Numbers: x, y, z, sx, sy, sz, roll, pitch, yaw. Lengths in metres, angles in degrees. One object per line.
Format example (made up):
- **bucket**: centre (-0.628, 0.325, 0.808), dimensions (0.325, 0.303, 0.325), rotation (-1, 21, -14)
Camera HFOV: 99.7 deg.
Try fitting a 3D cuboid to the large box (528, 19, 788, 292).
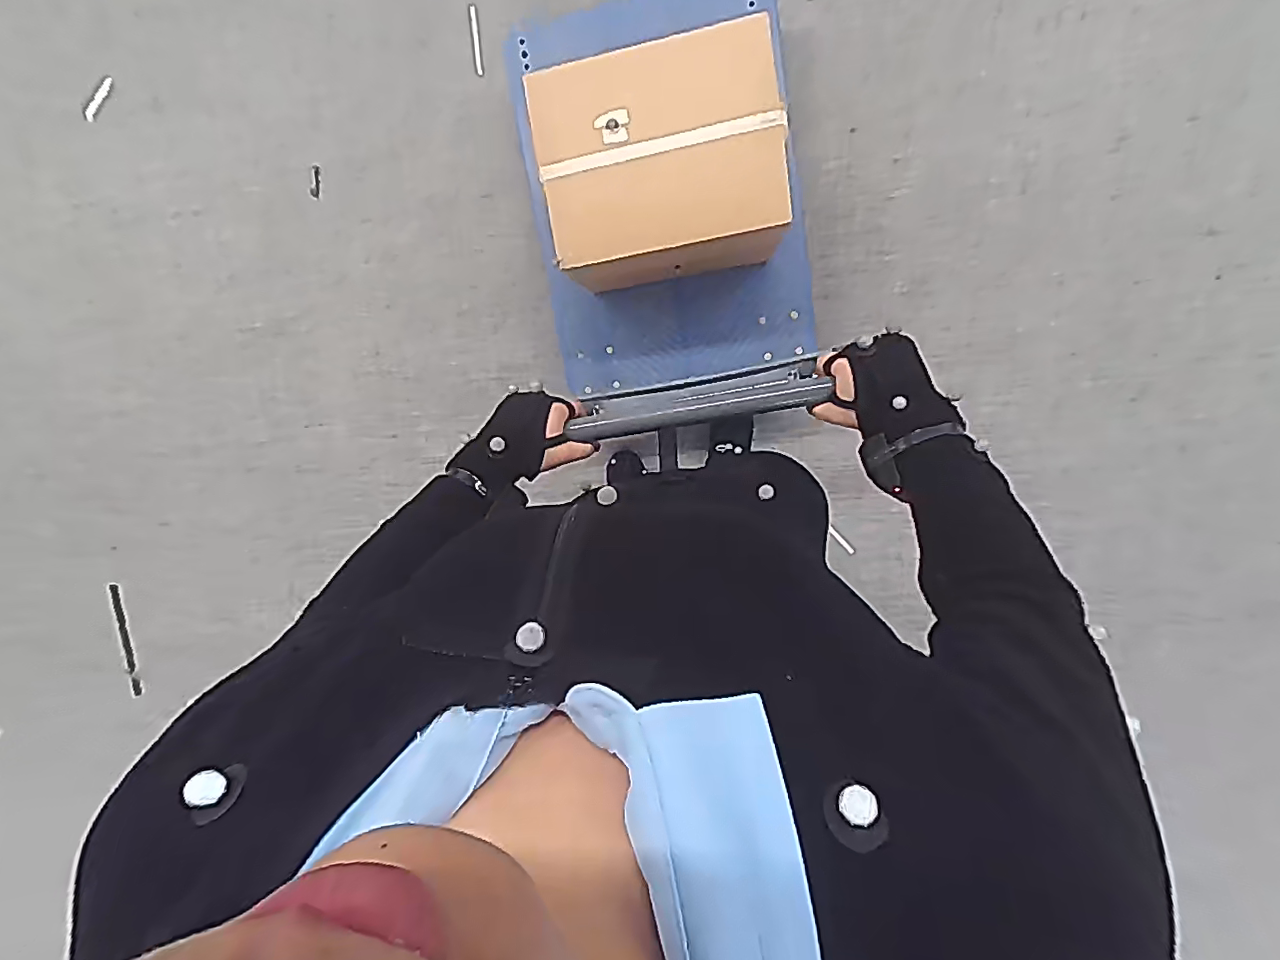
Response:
- **large box**: centre (0.048, -0.583, 1.057), dimensions (0.408, 0.320, 0.320), rotation (-9, 99, 9)
